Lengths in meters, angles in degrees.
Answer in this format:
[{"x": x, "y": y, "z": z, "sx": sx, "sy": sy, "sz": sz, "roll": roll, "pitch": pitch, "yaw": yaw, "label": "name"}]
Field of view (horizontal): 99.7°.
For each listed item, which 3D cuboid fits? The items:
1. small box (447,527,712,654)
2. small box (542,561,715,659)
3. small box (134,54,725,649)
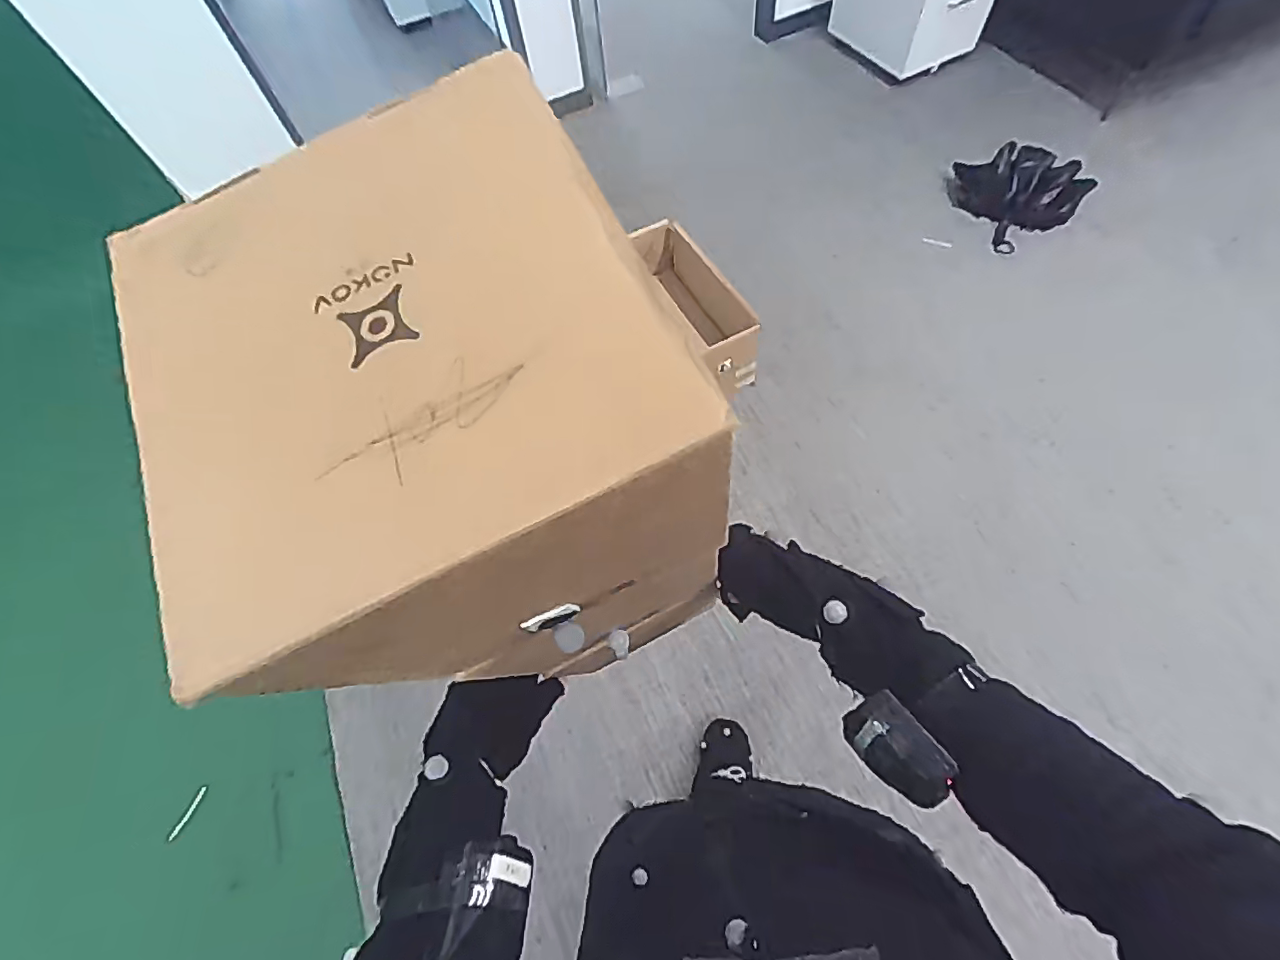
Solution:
[{"x": -0.059, "y": 0.017, "z": 0.409, "sx": 0.168, "sy": 0.176, "sz": 0.179, "roll": -28, "pitch": 71, "yaw": -1, "label": "small box"}, {"x": -0.035, "y": 0.072, "z": 0.564, "sx": 0.168, "sy": 0.176, "sz": 0.179, "roll": -29, "pitch": 70, "yaw": -1, "label": "small box"}, {"x": -0.073, "y": -0.034, "z": 0.256, "sx": 0.168, "sy": 0.176, "sz": 0.179, "roll": -28, "pitch": 71, "yaw": 0, "label": "small box"}]
